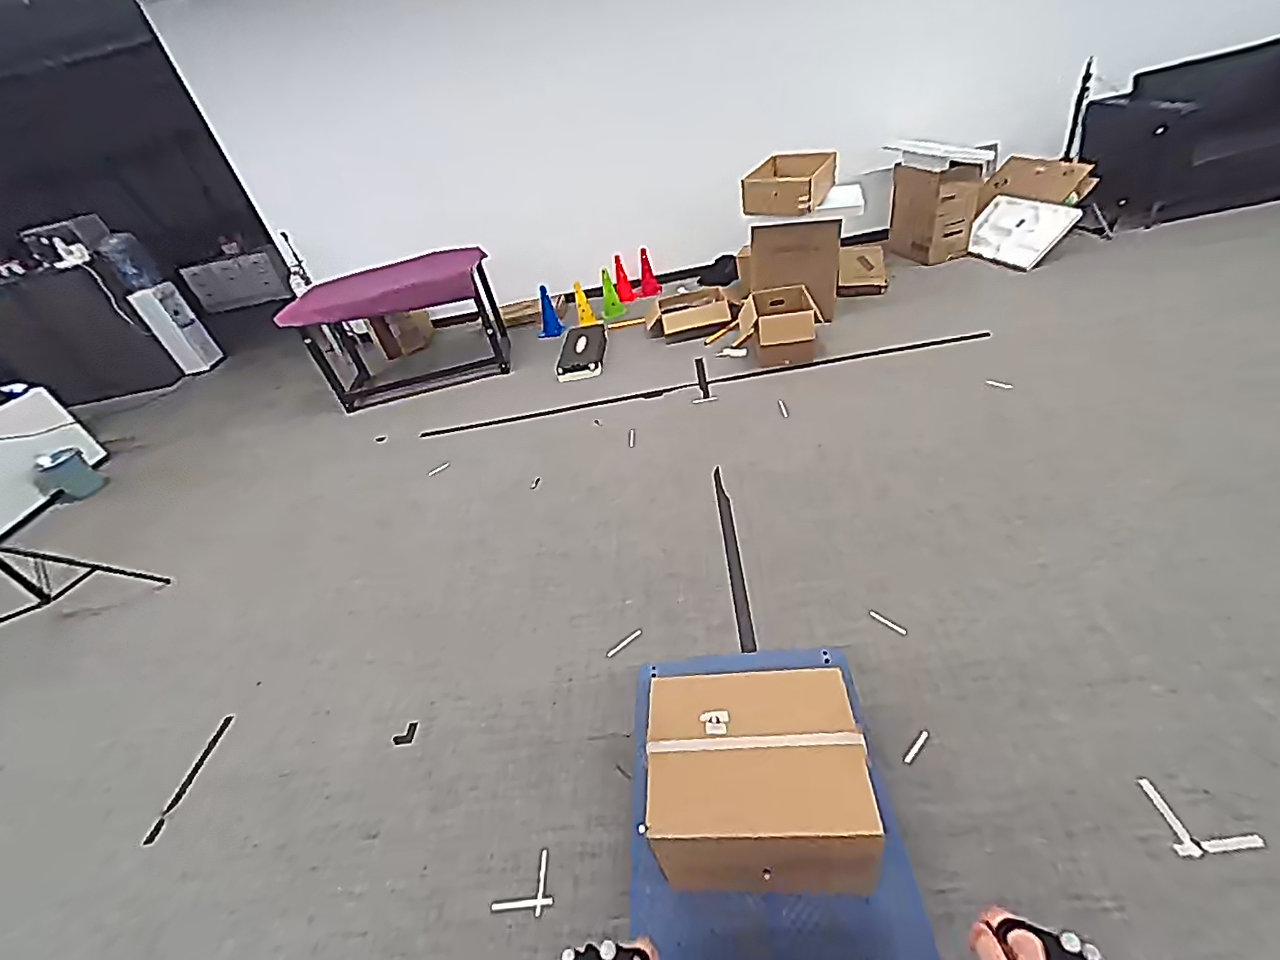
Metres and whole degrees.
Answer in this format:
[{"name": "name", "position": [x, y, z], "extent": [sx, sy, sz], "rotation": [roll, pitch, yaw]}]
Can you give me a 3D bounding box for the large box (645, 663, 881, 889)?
[{"name": "large box", "position": [0.239, 0.617, 1.121], "extent": [0.408, 0.320, 0.320], "rotation": [-8, 36, 9]}]
